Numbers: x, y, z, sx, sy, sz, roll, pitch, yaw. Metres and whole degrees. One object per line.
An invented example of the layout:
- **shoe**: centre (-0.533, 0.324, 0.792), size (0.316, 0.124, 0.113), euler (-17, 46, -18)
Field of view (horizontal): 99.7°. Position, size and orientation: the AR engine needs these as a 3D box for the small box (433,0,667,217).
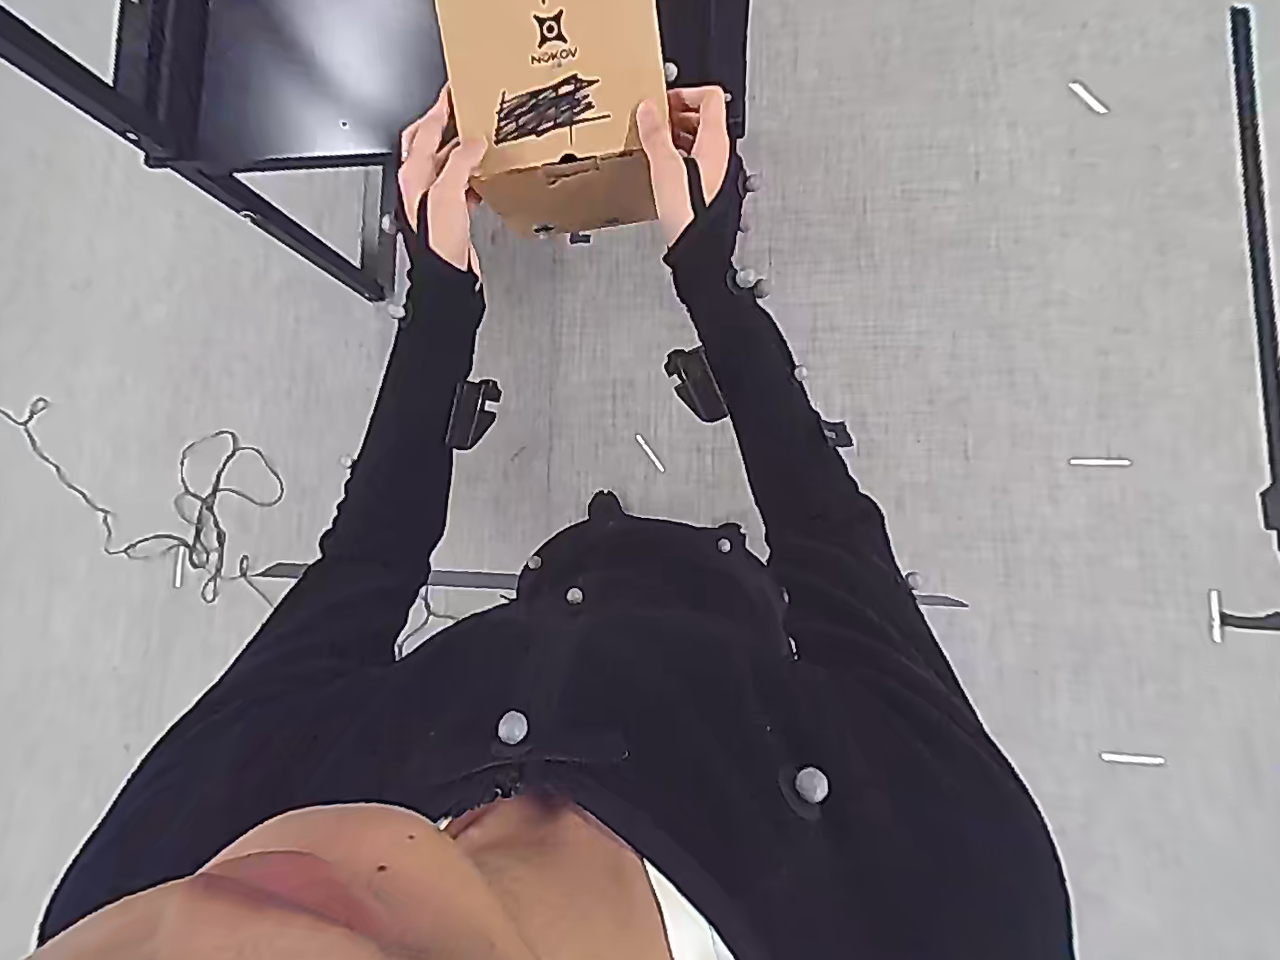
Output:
- **small box**: centre (-0.065, -0.350, 0.476), size (0.168, 0.176, 0.179), euler (-8, 98, 3)
